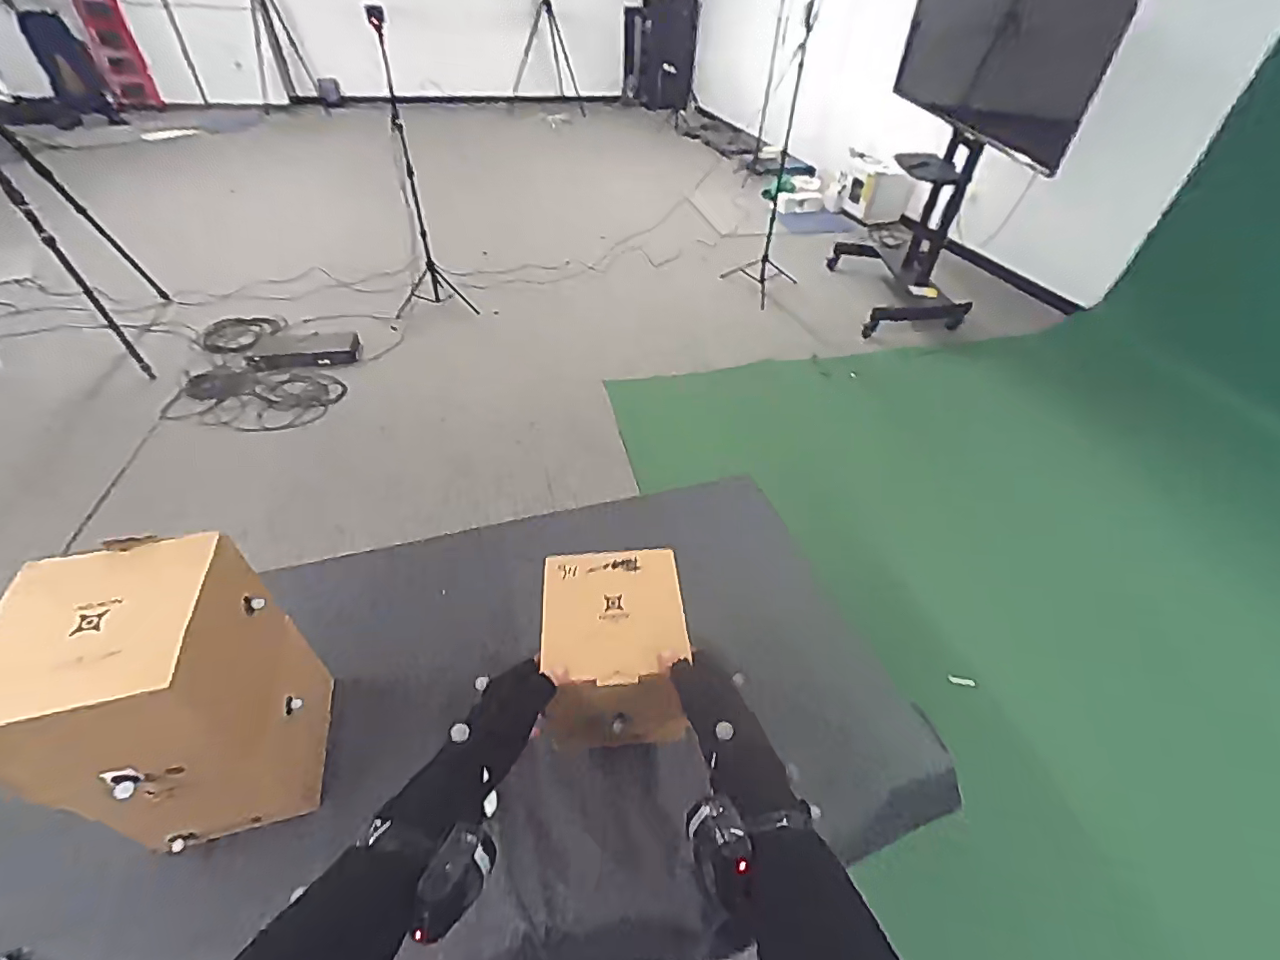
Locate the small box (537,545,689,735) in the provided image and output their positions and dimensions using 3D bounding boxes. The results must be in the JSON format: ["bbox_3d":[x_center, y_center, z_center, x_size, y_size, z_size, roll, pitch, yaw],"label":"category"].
[{"bbox_3d":[-0.031,0.205,0.683,0.168,0.176,0.179,-2,43,-3],"label":"small box"}]

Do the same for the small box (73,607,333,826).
[{"bbox_3d":[-0.488,0.284,0.643,0.168,0.176,0.179,-9,44,-13],"label":"small box"}]

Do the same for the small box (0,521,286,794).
[{"bbox_3d":[-0.477,0.170,0.529,0.168,0.176,0.179,-10,46,-13],"label":"small box"}]
